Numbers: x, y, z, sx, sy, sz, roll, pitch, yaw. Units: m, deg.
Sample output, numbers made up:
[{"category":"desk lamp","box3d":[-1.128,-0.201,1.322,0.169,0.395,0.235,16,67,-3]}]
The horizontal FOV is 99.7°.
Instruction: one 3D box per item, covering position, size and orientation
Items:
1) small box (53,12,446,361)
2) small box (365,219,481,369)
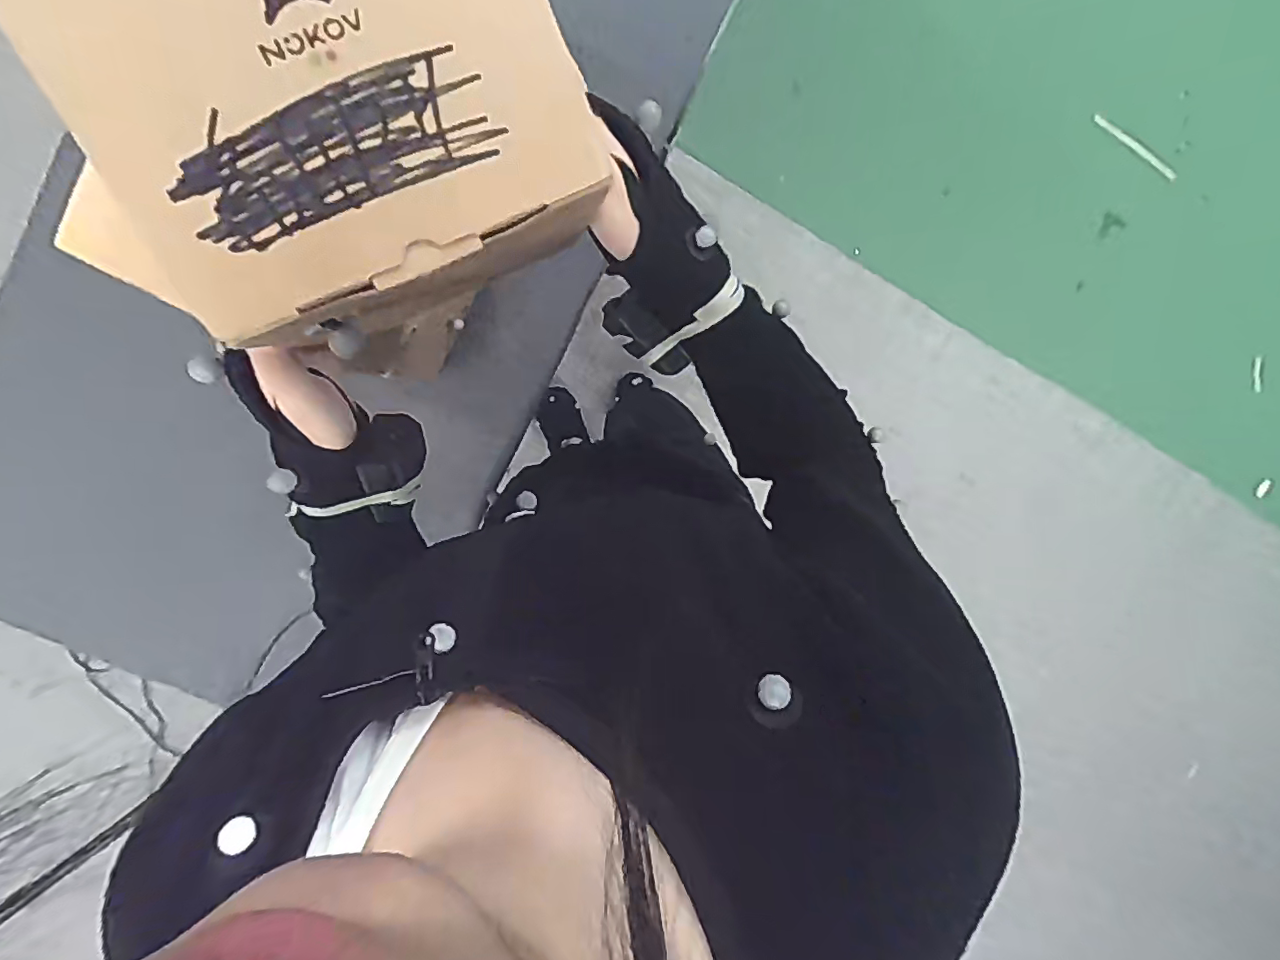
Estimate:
[{"category":"small box","box3d":[-0.292,-0.208,0.450,0.179,0.176,0.168,27,96,-10]},{"category":"small box","box3d":[-0.304,-0.234,0.609,0.179,0.176,0.168,28,97,-10]}]
